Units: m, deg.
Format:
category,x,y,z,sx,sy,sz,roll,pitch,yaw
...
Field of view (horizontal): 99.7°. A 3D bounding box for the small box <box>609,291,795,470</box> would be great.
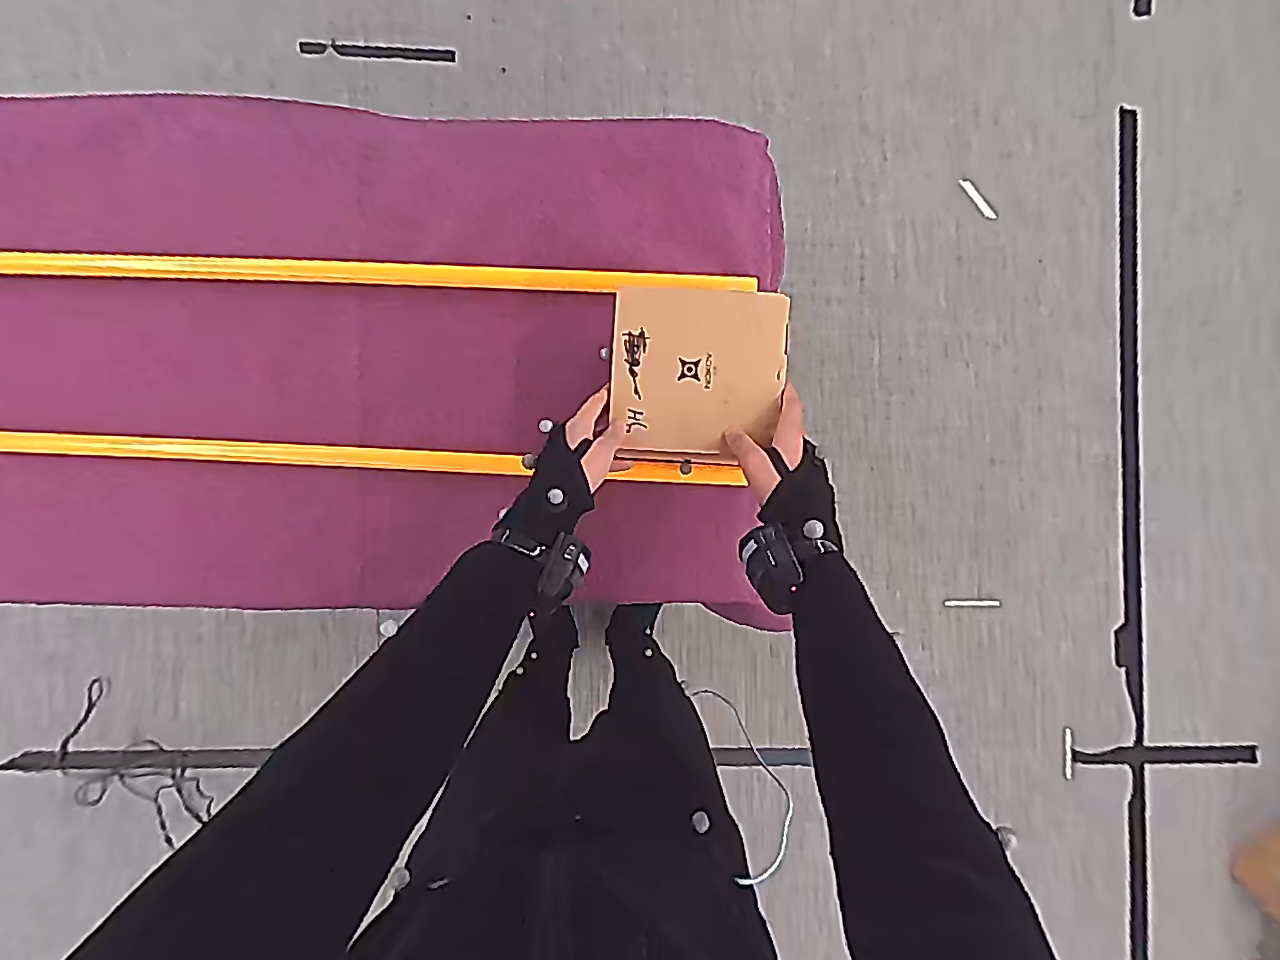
category,x,y,z,sx,sy,sz,roll,pitch,yaw
small box,0.062,-0.100,0.615,0.179,0.176,0.168,4,89,2
